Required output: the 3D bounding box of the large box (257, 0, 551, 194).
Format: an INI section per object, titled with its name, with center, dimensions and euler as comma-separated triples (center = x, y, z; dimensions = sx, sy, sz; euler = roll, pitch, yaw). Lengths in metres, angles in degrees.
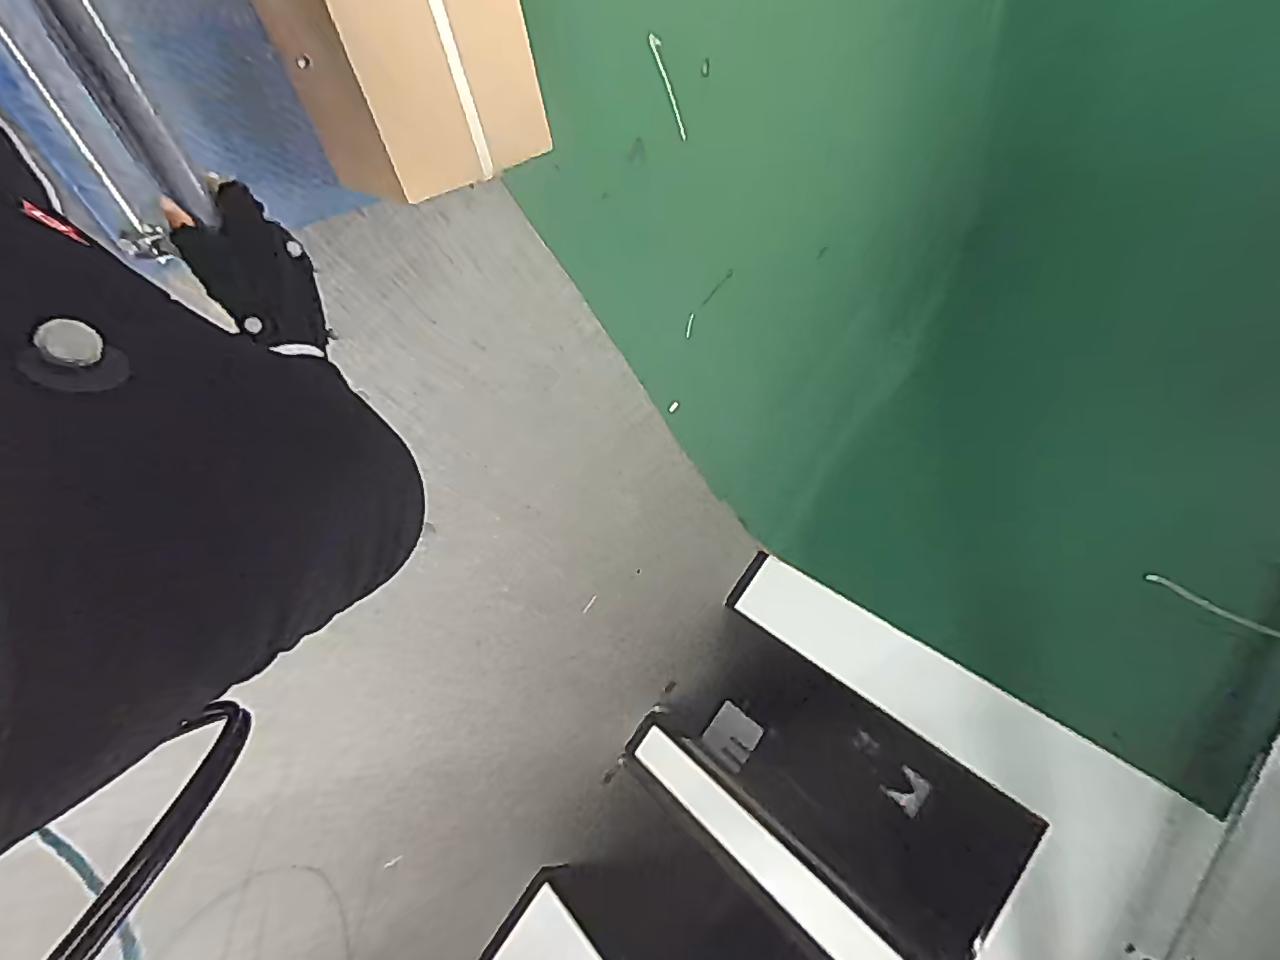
[large box]
center = -0.411, -0.762, 0.918
dimensions = 0.320, 0.320, 0.408
euler = -40, 139, -25
